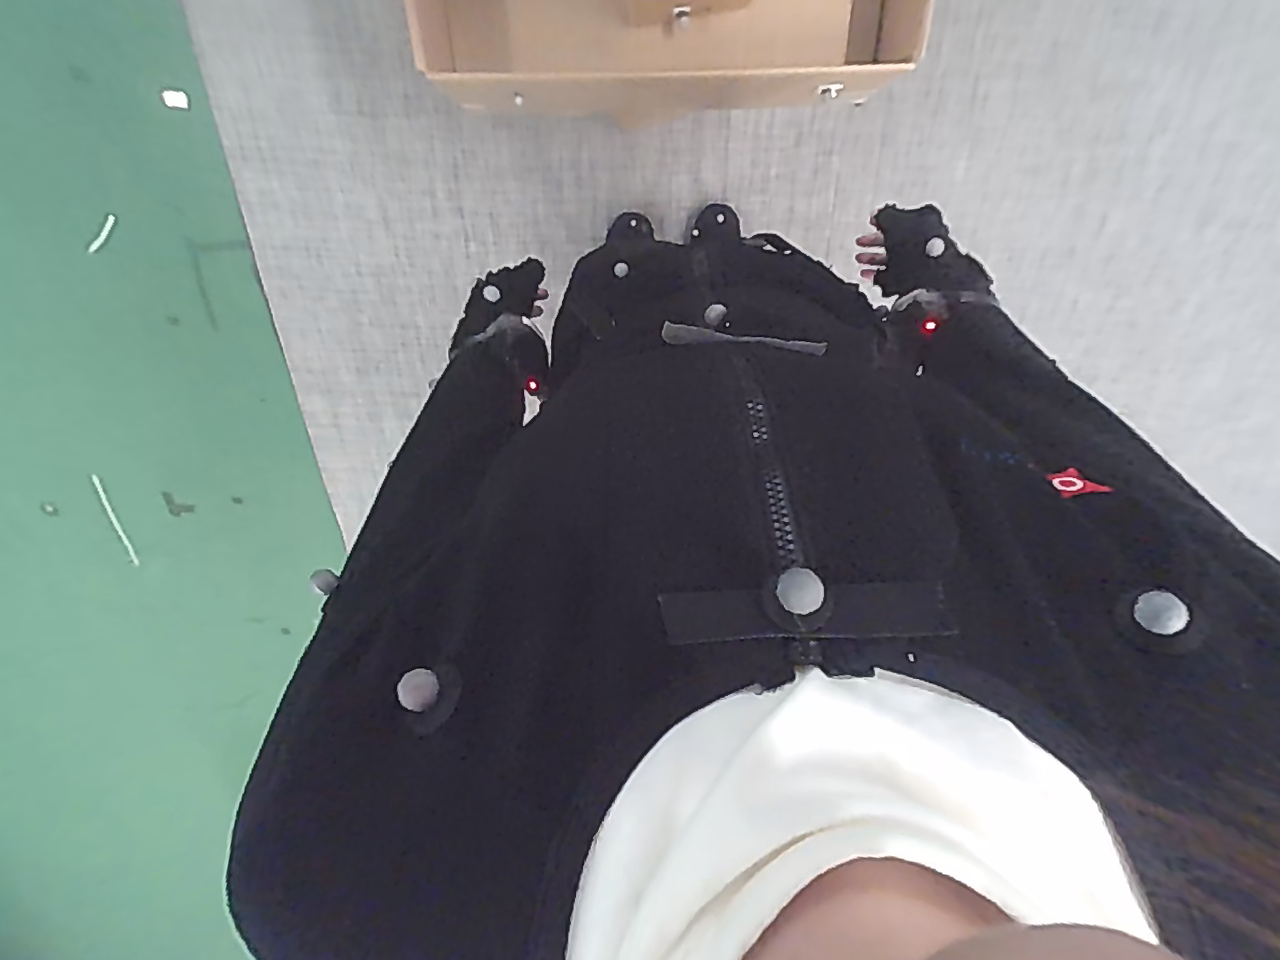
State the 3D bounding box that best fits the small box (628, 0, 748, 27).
[{"bbox_3d":[0.055,-0.677,0.635,0.168,0.176,0.179,-5,117,6],"label":"small box"}]
